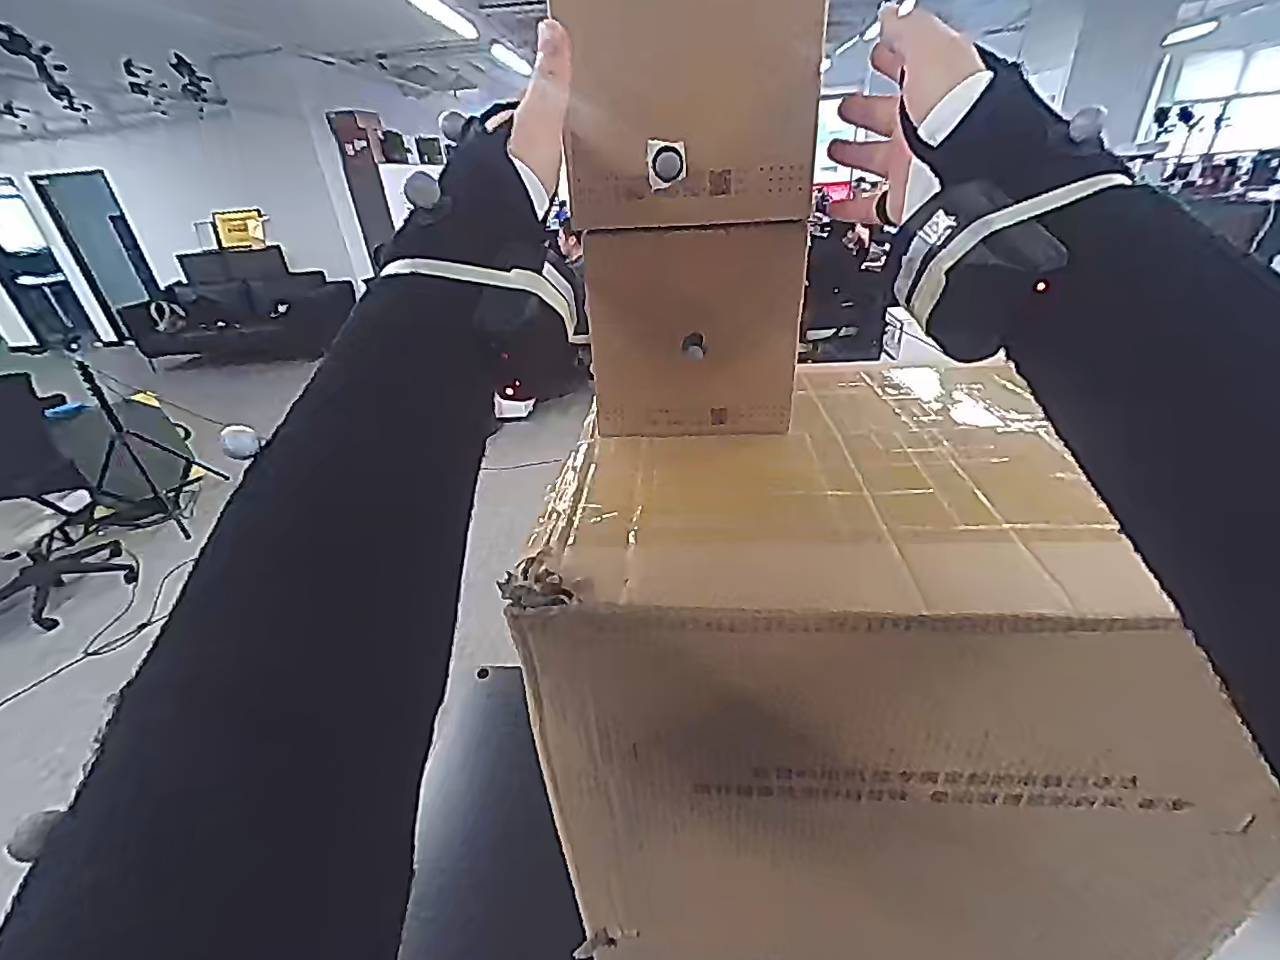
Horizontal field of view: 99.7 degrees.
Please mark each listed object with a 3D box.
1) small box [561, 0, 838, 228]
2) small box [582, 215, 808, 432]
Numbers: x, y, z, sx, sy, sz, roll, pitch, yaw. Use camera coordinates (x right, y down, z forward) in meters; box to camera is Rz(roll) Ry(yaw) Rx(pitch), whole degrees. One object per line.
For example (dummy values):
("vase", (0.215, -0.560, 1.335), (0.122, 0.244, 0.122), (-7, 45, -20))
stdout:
("small box", (0.042, -0.286, 0.400), (0.168, 0.176, 0.179), (-1, 29, 7))
("small box", (0.050, -0.150, 0.493), (0.168, 0.176, 0.179), (-1, 29, 5))
